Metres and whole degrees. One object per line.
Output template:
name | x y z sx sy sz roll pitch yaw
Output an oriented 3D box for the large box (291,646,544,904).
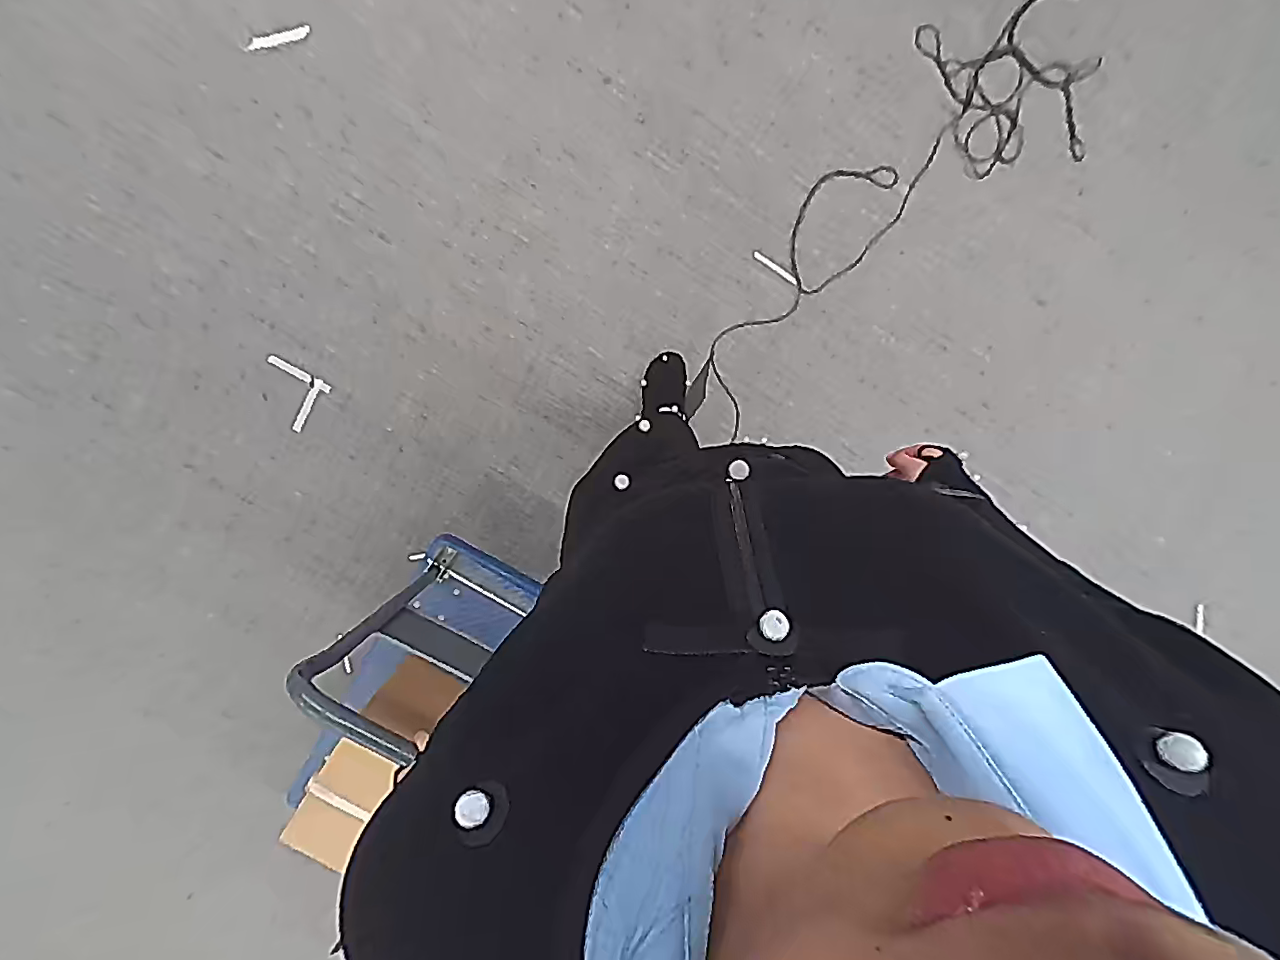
large box | -0.491 0.669 1.277 0.408 0.320 0.320 33 98 -7
